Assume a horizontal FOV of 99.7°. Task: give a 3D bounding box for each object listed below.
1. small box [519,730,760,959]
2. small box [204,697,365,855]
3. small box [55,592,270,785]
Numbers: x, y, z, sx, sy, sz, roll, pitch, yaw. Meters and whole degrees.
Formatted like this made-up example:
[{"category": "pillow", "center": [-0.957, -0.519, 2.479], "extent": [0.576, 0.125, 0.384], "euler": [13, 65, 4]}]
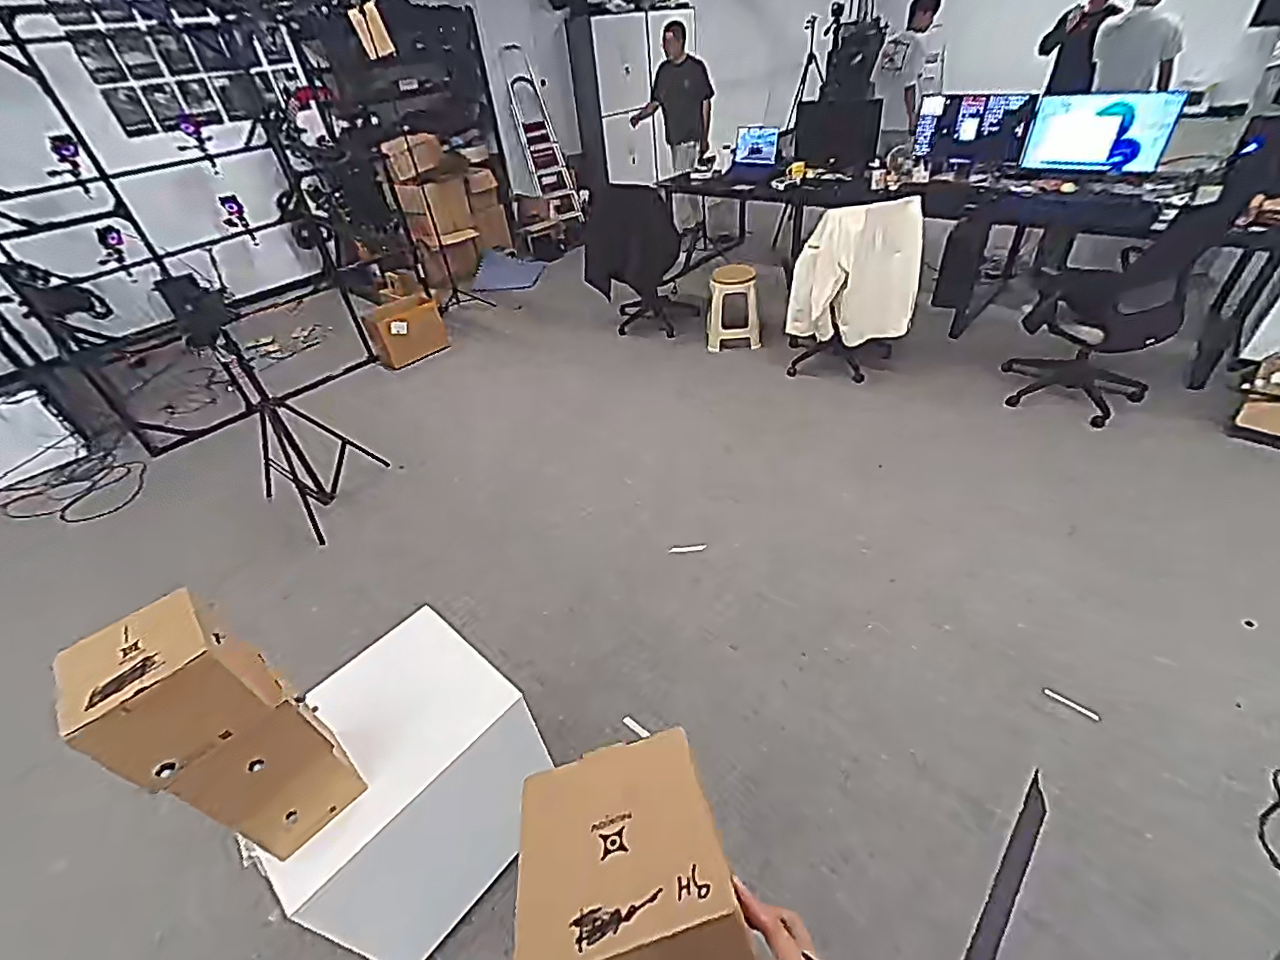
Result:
[{"category": "small box", "center": [0.003, 0.369, 0.479], "extent": [0.168, 0.176, 0.179], "euler": [-18, 20, -3]}, {"category": "small box", "center": [-0.647, 0.551, 1.000], "extent": [0.179, 0.176, 0.168], "euler": [27, 50, 35]}, {"category": "small box", "center": [-0.681, 0.305, 0.784], "extent": [0.168, 0.176, 0.179], "euler": [-35, 46, -30]}]
